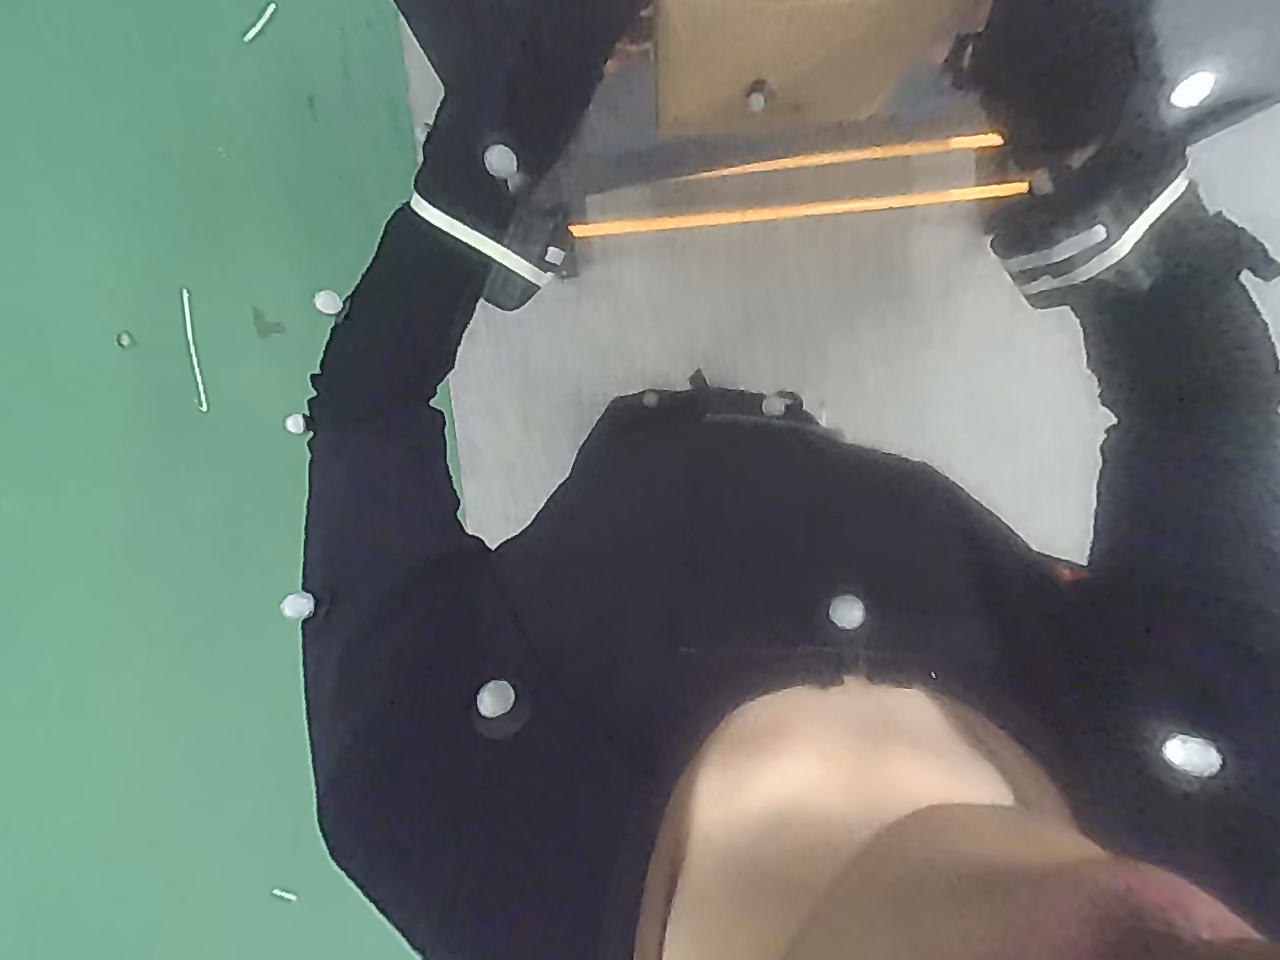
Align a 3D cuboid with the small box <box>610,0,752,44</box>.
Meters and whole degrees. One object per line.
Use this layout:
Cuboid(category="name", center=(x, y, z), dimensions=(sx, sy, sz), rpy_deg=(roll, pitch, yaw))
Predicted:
Cuboid(category="small box", center=(0.039, -0.620, 0.574), dimensions=(0.168, 0.176, 0.179), rpy_deg=(-8, 97, 1))
